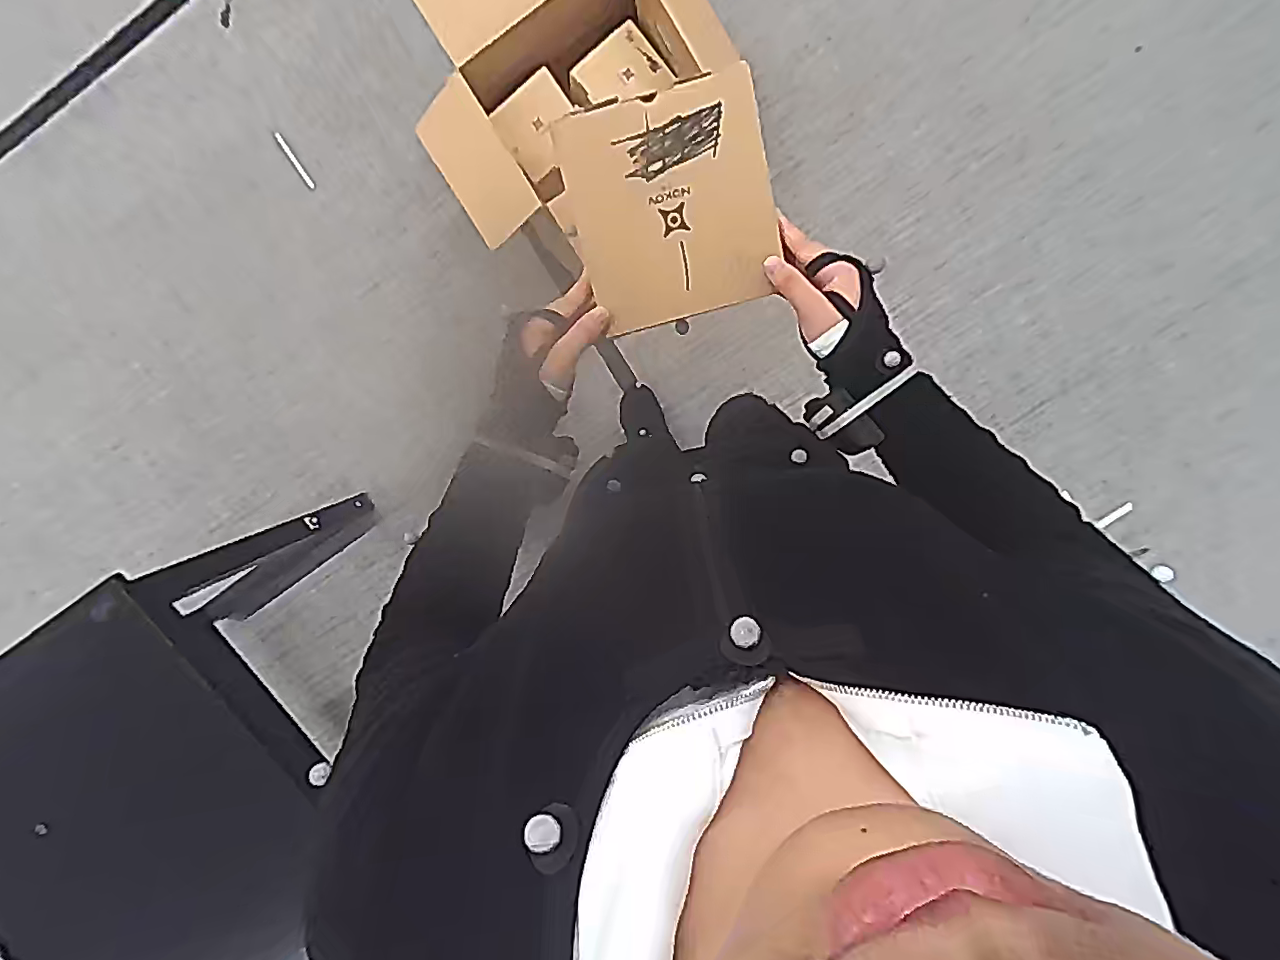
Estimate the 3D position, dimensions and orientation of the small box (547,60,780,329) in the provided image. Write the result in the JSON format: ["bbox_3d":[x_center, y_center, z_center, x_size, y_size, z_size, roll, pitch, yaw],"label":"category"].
[{"bbox_3d":[0.022,-0.252,0.527,0.168,0.176,0.179,-14,106,4],"label":"small box"}]
